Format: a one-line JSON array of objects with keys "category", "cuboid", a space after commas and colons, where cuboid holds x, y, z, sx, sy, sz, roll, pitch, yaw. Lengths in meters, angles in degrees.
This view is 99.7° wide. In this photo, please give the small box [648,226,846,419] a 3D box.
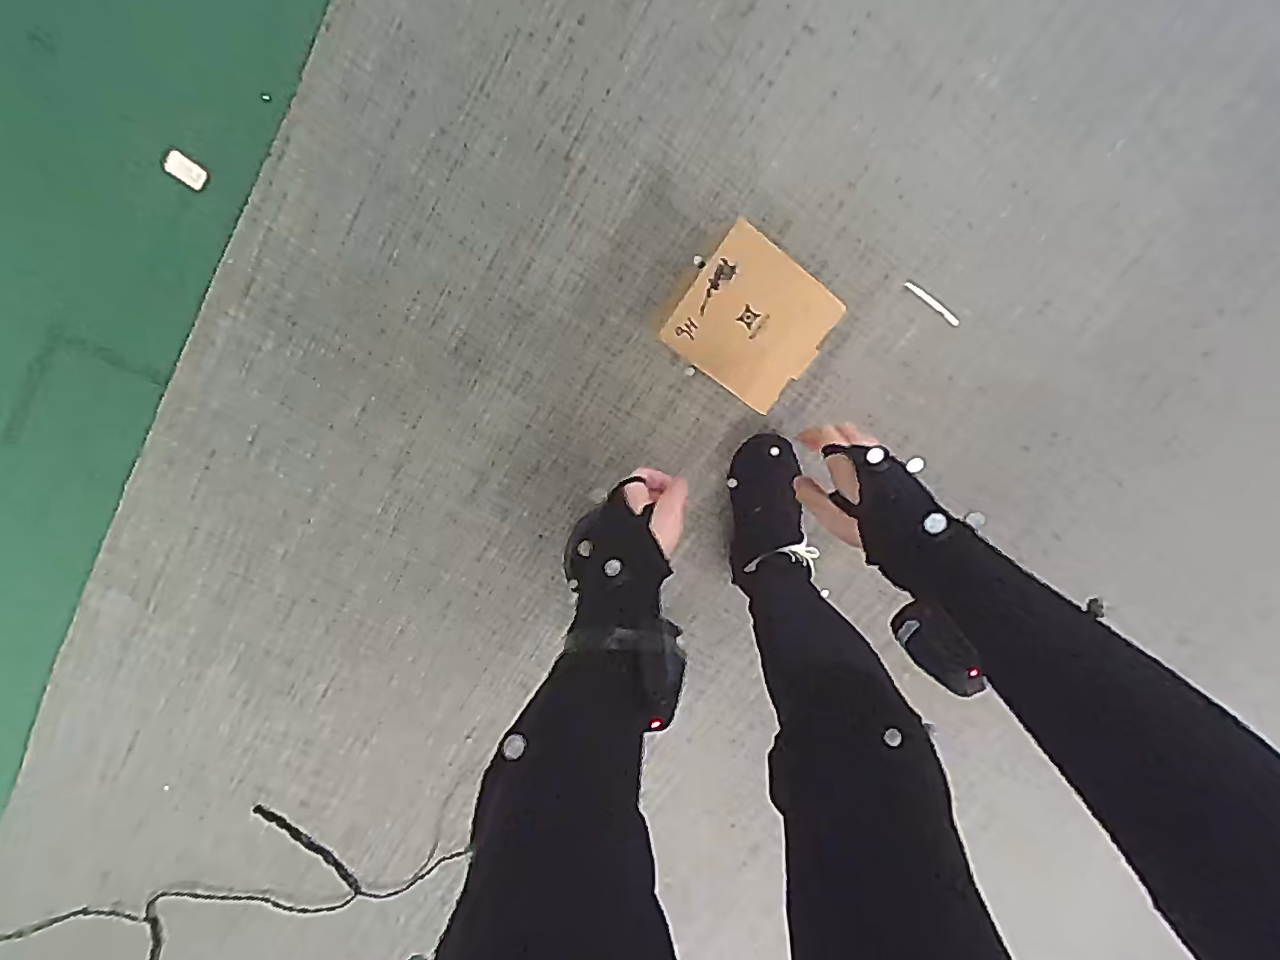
[{"category": "small box", "cuboid": [0.130, -0.210, 0.727, 0.179, 0.176, 0.168, 33, 103, -15]}]
